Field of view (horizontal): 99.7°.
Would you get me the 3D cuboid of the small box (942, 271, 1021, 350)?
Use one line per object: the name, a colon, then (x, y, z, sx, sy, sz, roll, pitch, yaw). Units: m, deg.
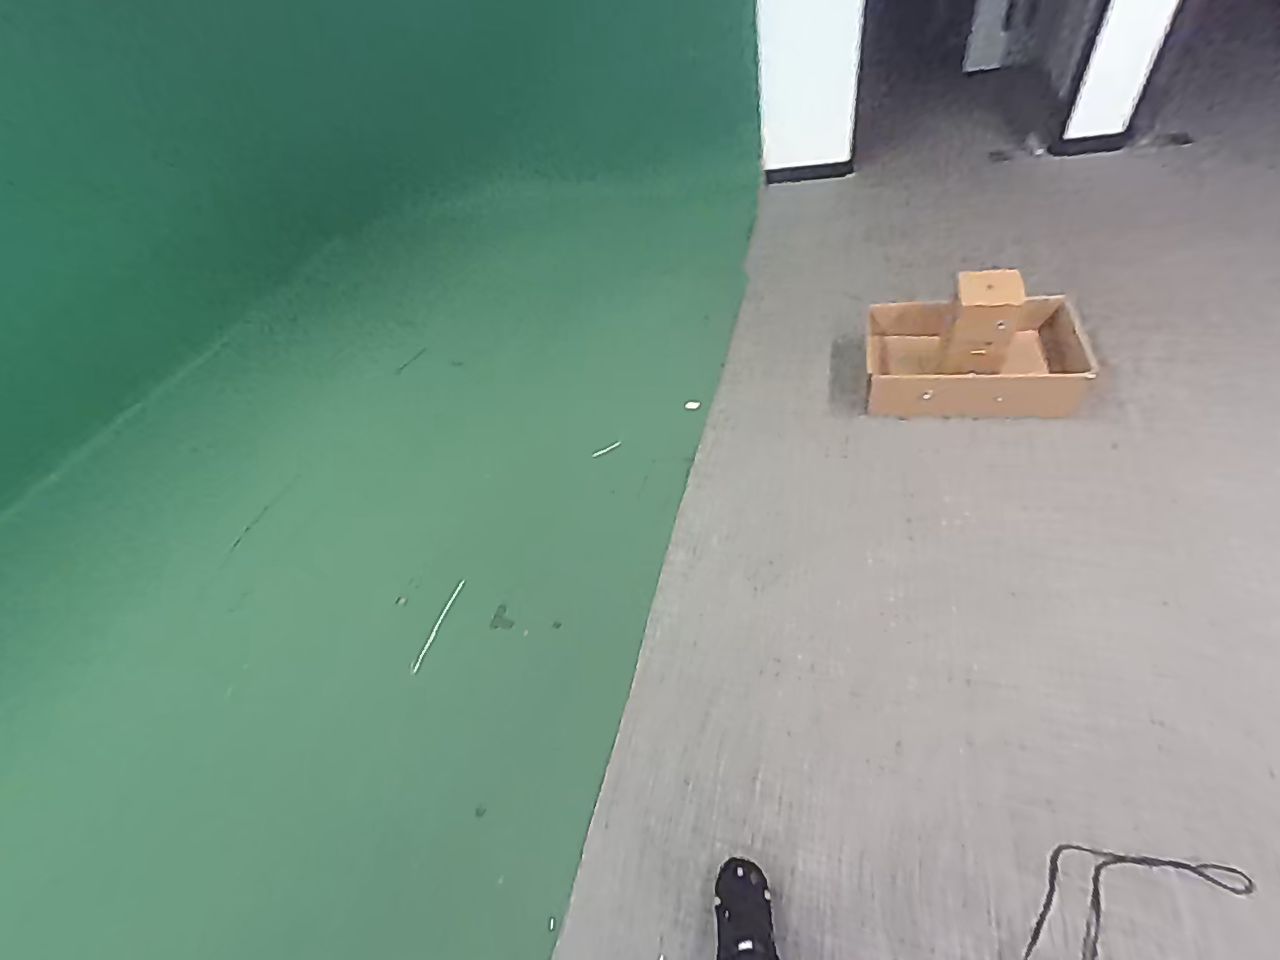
small box: (1.044, -0.518, 1.666, 0.168, 0.176, 0.179, 5, 52, 18)

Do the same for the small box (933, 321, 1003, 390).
small box: (1.077, -0.414, 1.787, 0.168, 0.176, 0.179, 5, 53, 19)
